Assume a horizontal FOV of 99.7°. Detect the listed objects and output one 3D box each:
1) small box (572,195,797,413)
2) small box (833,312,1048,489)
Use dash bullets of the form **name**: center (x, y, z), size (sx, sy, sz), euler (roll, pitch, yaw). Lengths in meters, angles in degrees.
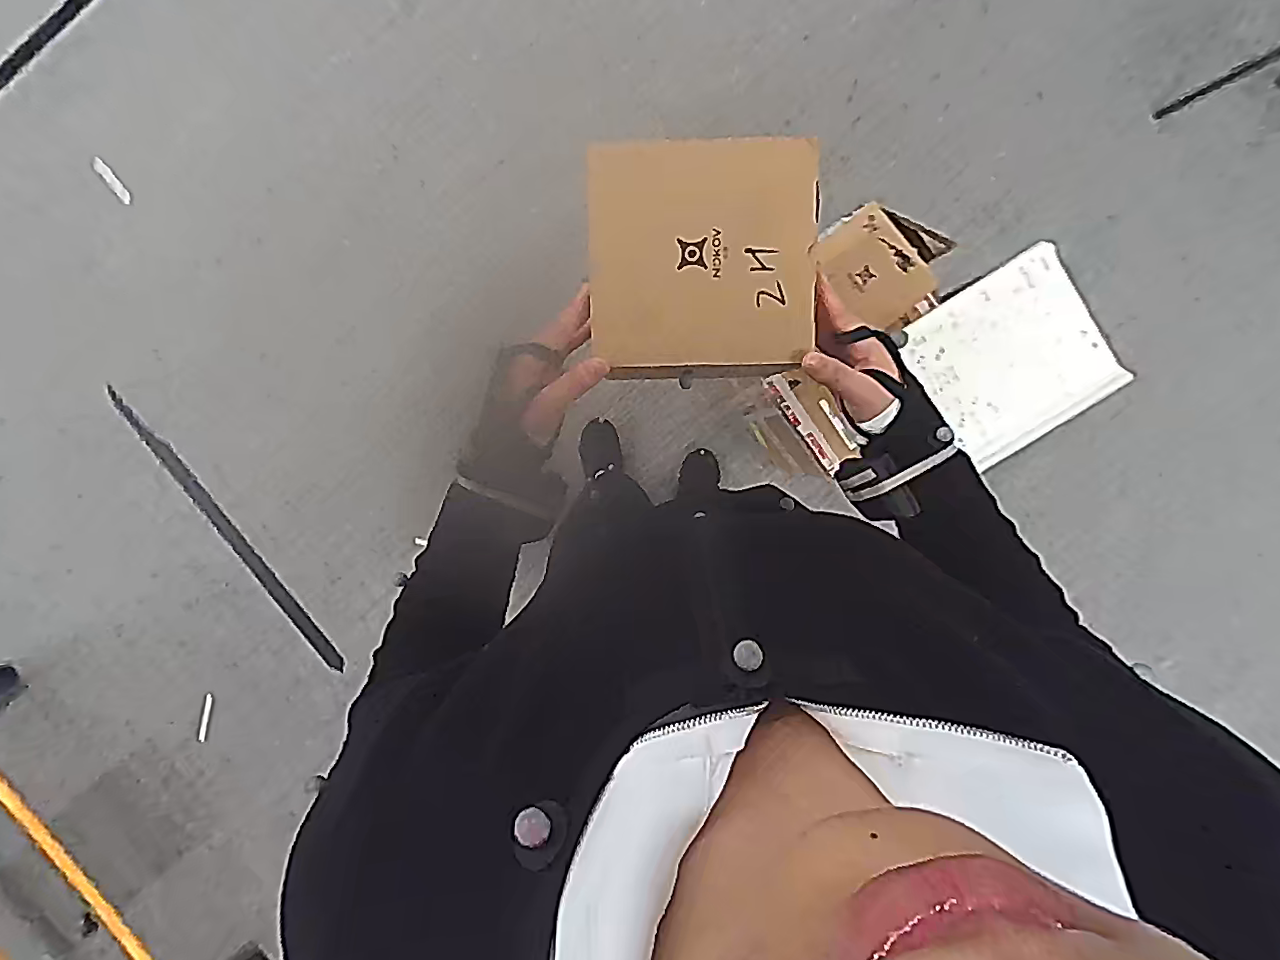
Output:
- **small box**: center (0.037, -0.147, 0.505), size (0.179, 0.176, 0.168), euler (-1, 98, 0)
- **small box**: center (0.409, -0.108, 0.768), size (0.179, 0.176, 0.168), euler (-32, 94, 4)
